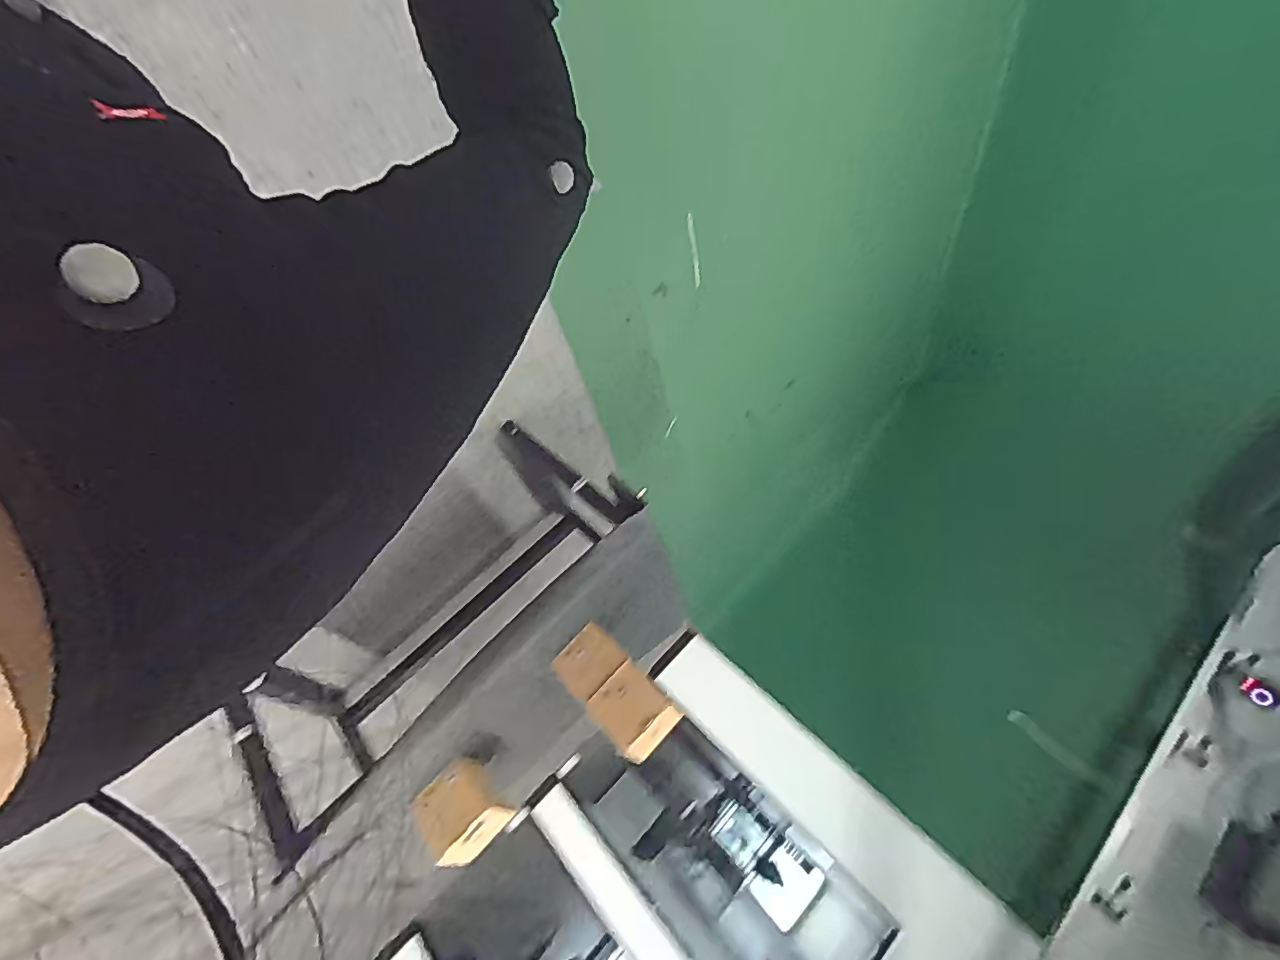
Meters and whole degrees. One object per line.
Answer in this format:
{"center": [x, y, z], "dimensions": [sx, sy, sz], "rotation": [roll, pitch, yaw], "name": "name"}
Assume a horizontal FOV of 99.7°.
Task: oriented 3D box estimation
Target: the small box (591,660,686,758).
{"center": [-0.002, 0.618, 1.468], "dimensions": [0.168, 0.176, 0.179], "rotation": [-44, 146, -13], "name": "small box"}

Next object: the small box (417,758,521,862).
{"center": [-0.456, 0.874, 1.439], "dimensions": [0.168, 0.176, 0.179], "rotation": [-43, 146, -15], "name": "small box"}

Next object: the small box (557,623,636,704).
{"center": [-0.108, 0.541, 1.564], "dimensions": [0.168, 0.176, 0.179], "rotation": [-46, 146, -12], "name": "small box"}
